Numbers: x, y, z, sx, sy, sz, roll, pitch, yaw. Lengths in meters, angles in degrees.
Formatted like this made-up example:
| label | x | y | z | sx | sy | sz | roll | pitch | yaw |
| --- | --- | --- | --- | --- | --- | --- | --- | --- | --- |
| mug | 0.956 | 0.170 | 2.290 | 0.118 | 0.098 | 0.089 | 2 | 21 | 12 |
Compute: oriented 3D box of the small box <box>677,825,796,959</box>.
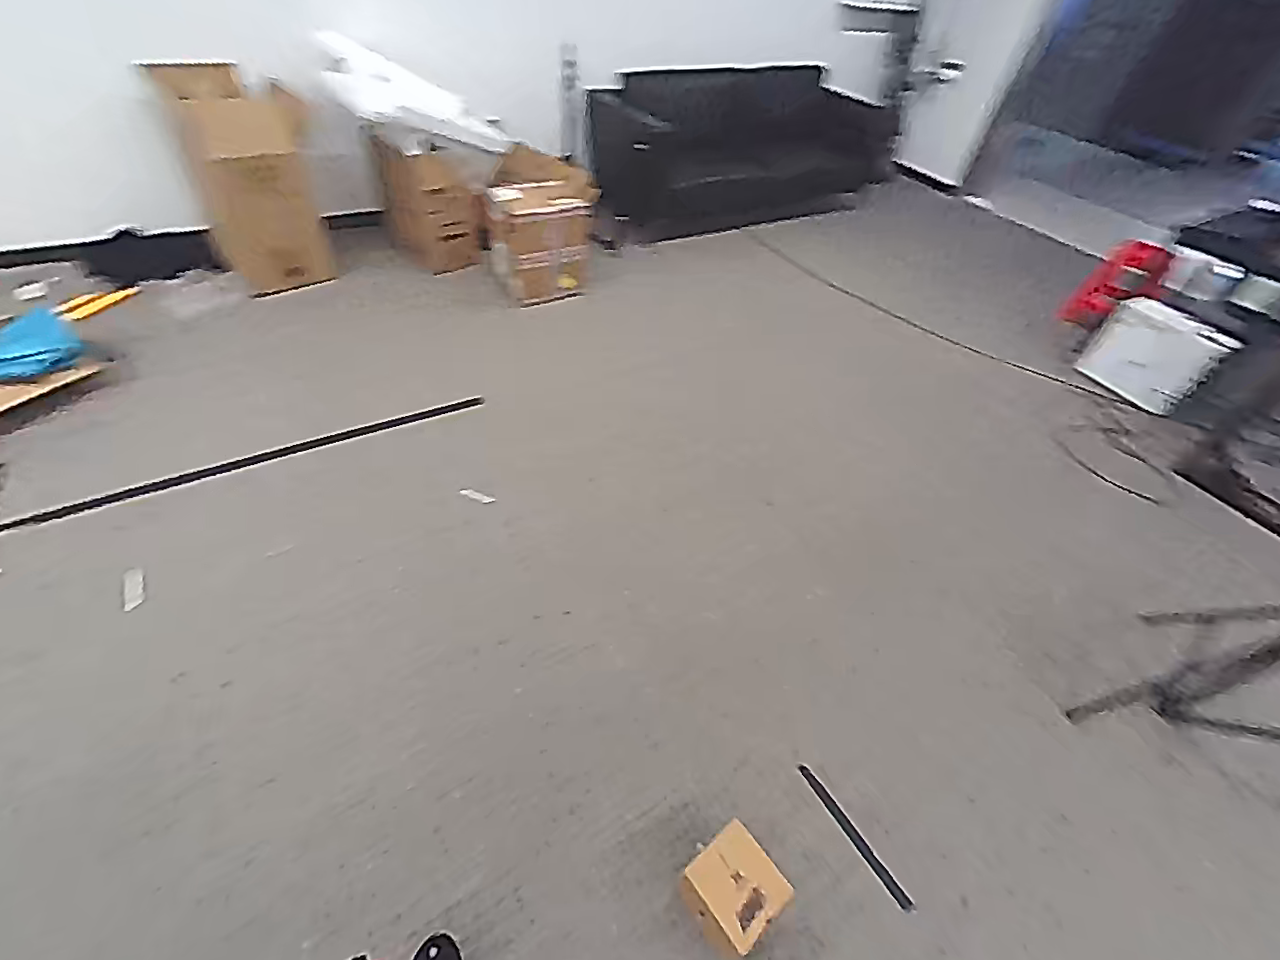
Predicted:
| label | x | y | z | sx | sy | sz | roll | pitch | yaw |
| --- | --- | --- | --- | --- | --- | --- | --- | --- | --- |
| small box | 0.201 | 0.900 | 1.173 | 0.168 | 0.176 | 0.179 | -26 | 53 | -30 |
